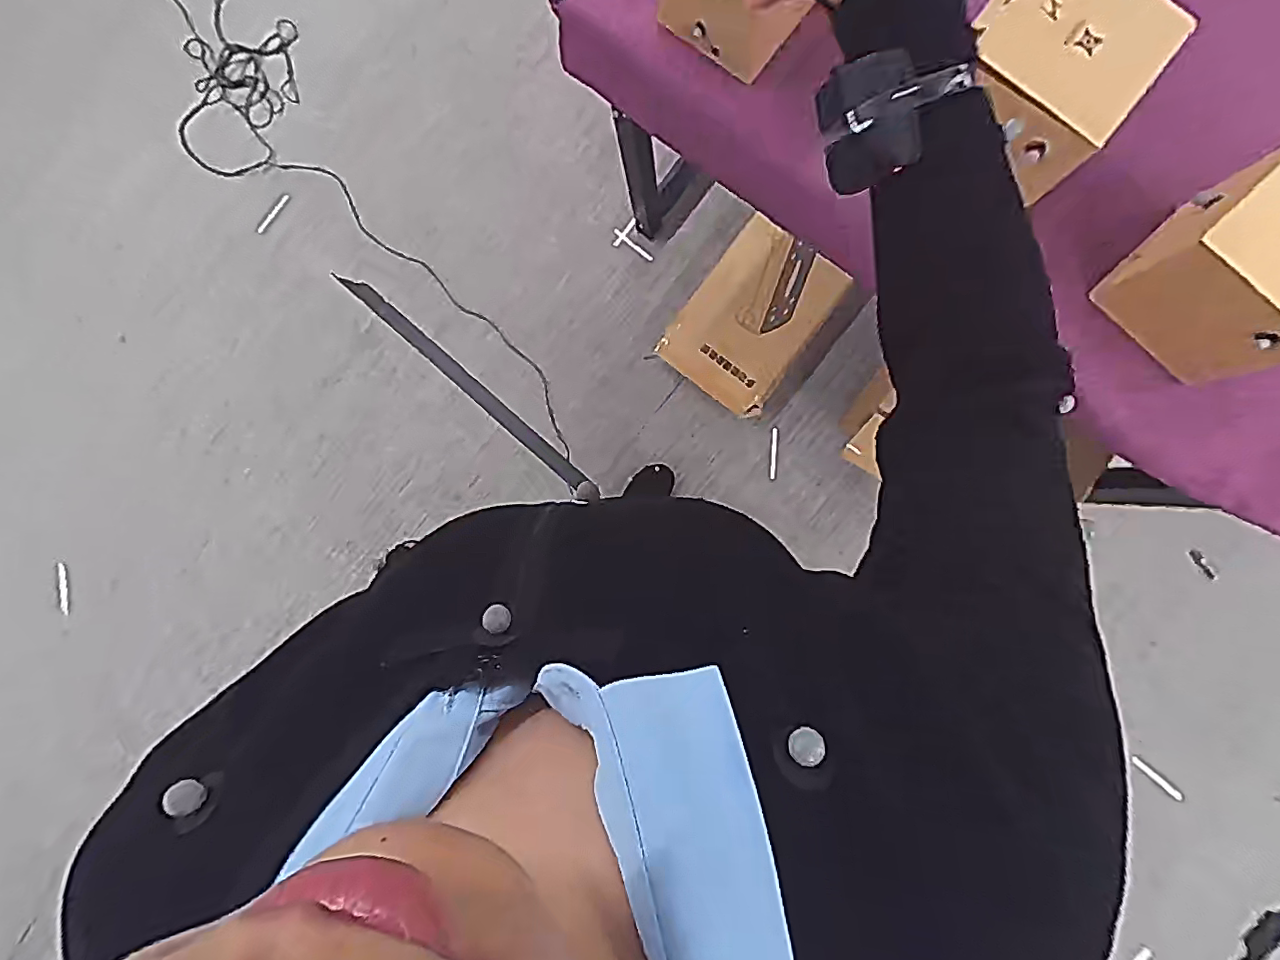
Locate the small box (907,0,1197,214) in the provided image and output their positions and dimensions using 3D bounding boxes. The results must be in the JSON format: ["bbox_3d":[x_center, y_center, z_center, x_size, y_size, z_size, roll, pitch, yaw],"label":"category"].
[{"bbox_3d":[0.467,-0.456,0.646,0.179,0.176,0.168,38,90,4],"label":"small box"}]

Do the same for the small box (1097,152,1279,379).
[{"bbox_3d":[0.701,-0.241,0.624,0.168,0.176,0.179,-45,86,3],"label":"small box"}]
